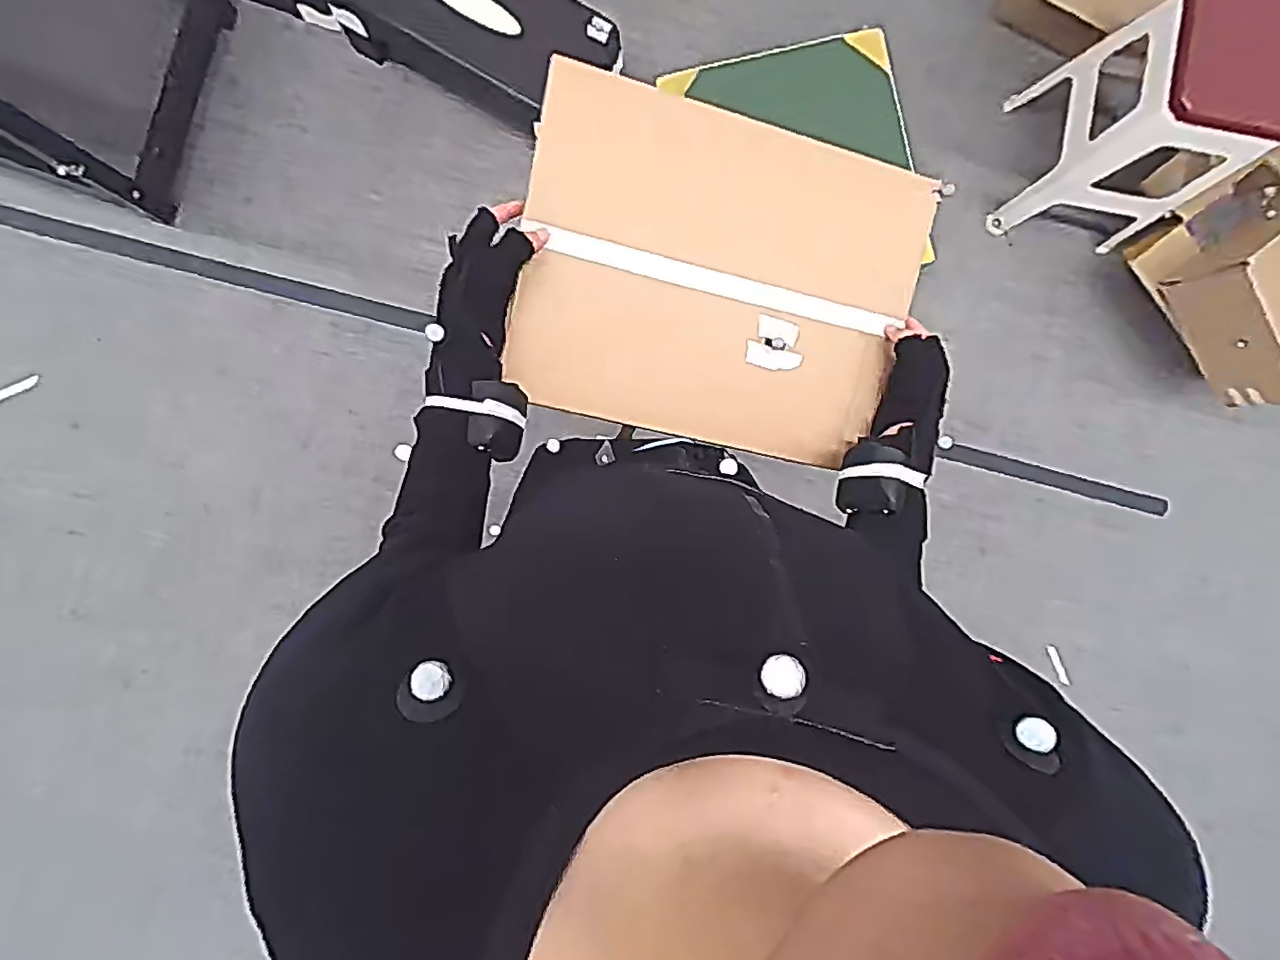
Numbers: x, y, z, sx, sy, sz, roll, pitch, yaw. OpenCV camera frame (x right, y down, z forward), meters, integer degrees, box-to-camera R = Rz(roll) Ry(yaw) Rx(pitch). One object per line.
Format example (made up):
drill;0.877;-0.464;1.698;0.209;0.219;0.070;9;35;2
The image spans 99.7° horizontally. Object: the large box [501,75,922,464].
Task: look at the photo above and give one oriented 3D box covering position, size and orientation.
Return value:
large box;0.057;-0.223;0.705;0.408;0.320;0.320;12;98;-10
